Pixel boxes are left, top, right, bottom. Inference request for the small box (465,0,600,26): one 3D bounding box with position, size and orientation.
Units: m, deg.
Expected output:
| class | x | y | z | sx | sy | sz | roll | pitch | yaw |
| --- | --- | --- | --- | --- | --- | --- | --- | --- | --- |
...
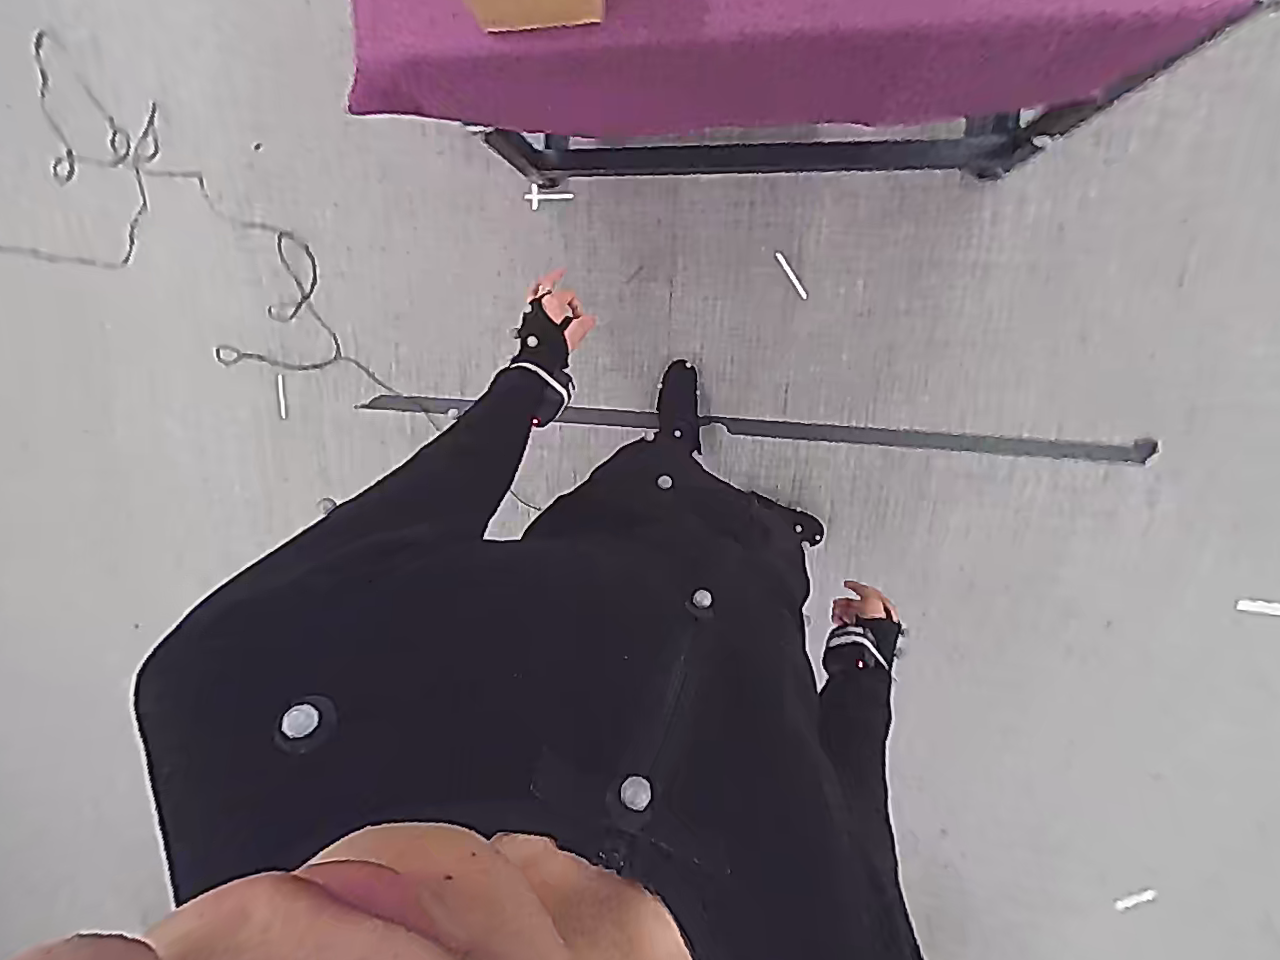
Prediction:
| class | x | y | z | sx | sy | sz | roll | pitch | yaw |
| --- | --- | --- | --- | --- | --- | --- | --- | --- | --- |
| small box | -0.151 | -0.689 | 0.651 | 0.179 | 0.176 | 0.168 | 3 | 104 | 8 |
